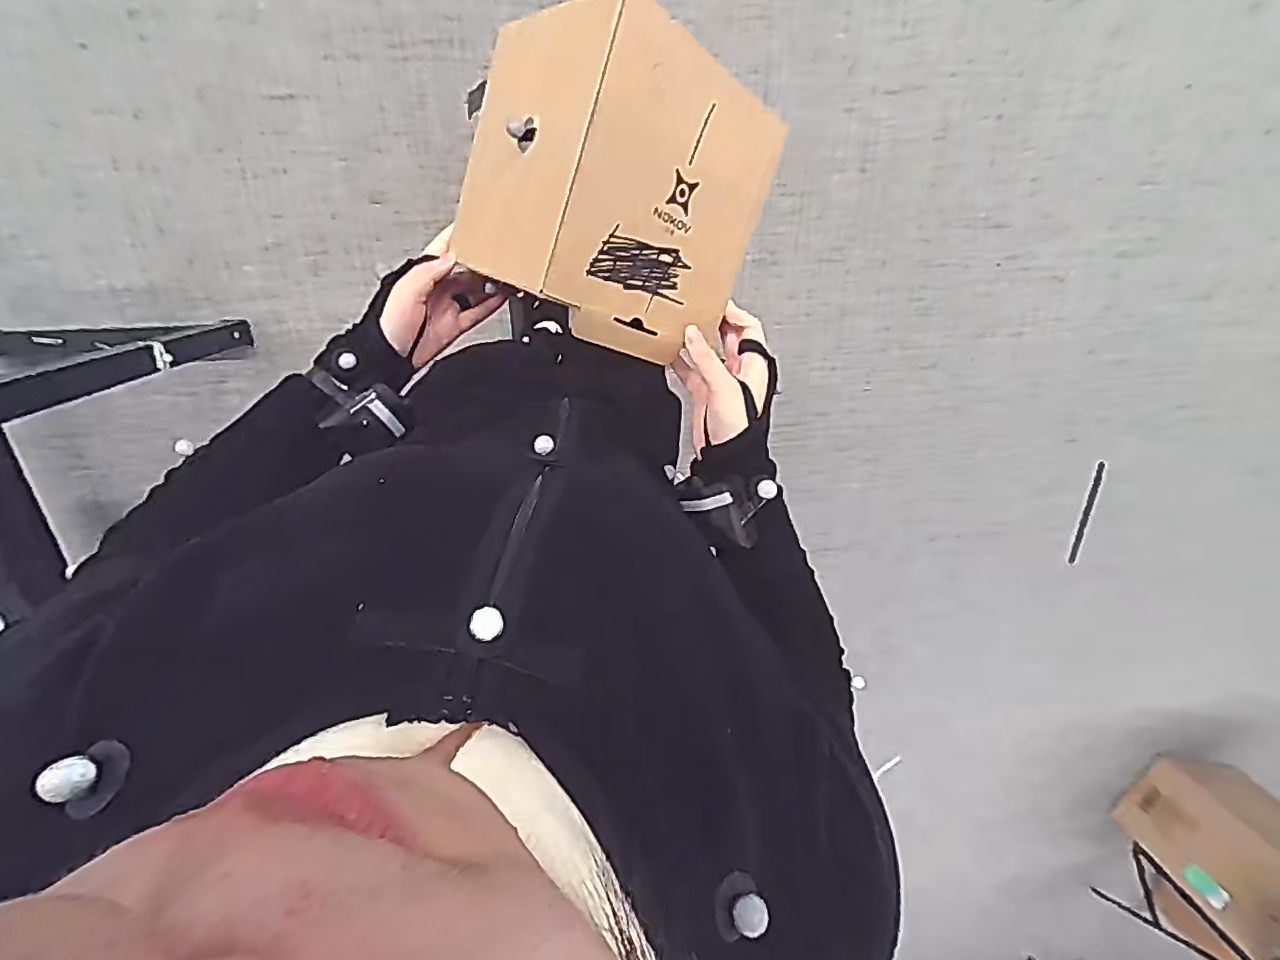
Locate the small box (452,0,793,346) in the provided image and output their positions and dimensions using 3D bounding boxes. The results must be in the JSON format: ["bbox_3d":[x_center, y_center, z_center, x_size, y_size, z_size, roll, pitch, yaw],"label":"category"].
[{"bbox_3d":[-0.024,-0.225,0.412,0.168,0.176,0.179,6,110,-44],"label":"small box"}]
